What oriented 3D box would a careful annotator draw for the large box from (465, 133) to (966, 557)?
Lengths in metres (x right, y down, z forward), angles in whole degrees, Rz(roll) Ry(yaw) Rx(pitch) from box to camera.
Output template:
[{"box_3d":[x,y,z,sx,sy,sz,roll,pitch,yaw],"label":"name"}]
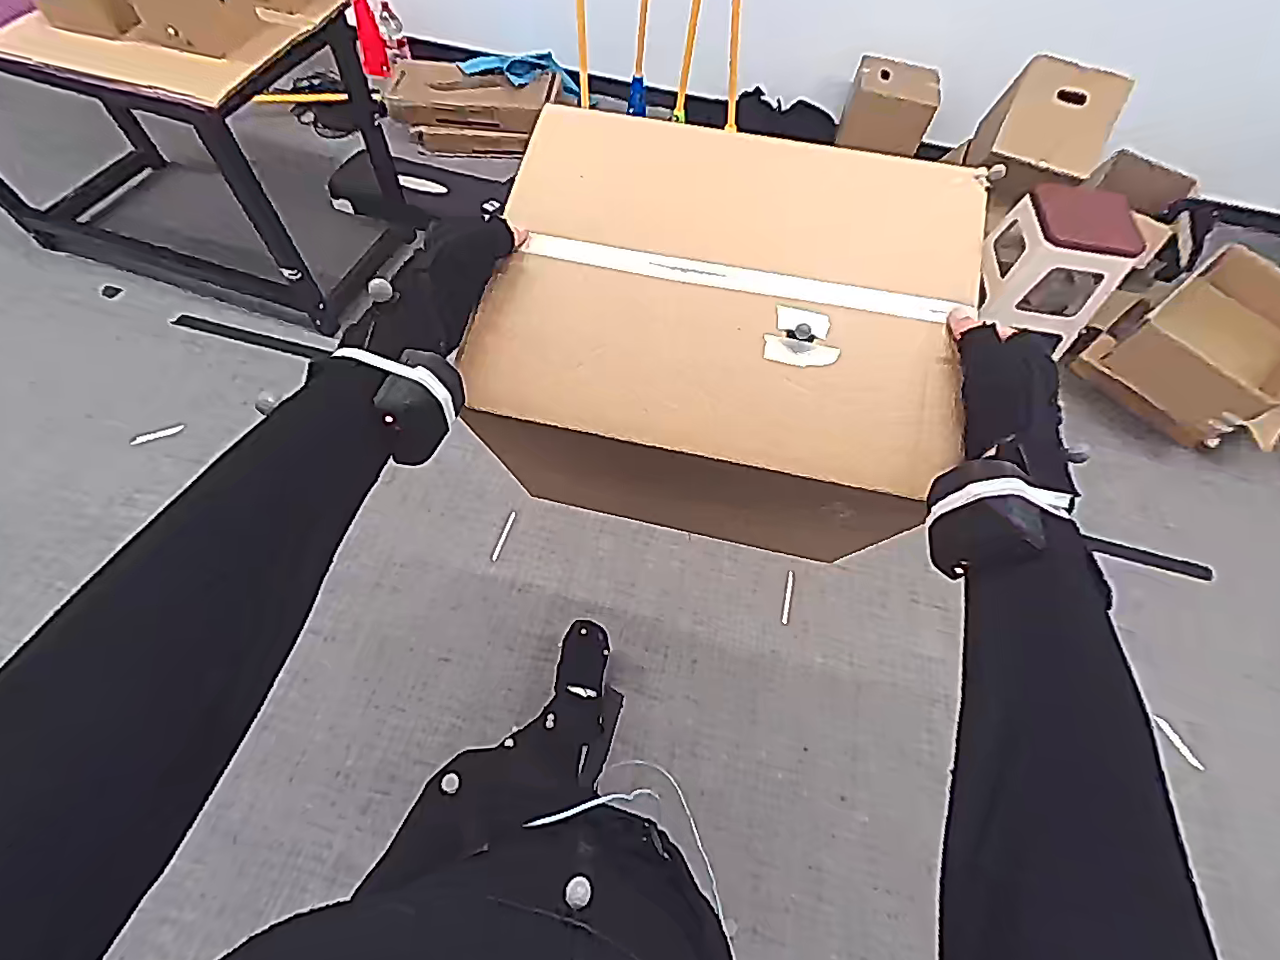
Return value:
[{"box_3d":[0.078,-0.120,0.617,0.408,0.320,0.320,12,75,5],"label":"large box"}]
